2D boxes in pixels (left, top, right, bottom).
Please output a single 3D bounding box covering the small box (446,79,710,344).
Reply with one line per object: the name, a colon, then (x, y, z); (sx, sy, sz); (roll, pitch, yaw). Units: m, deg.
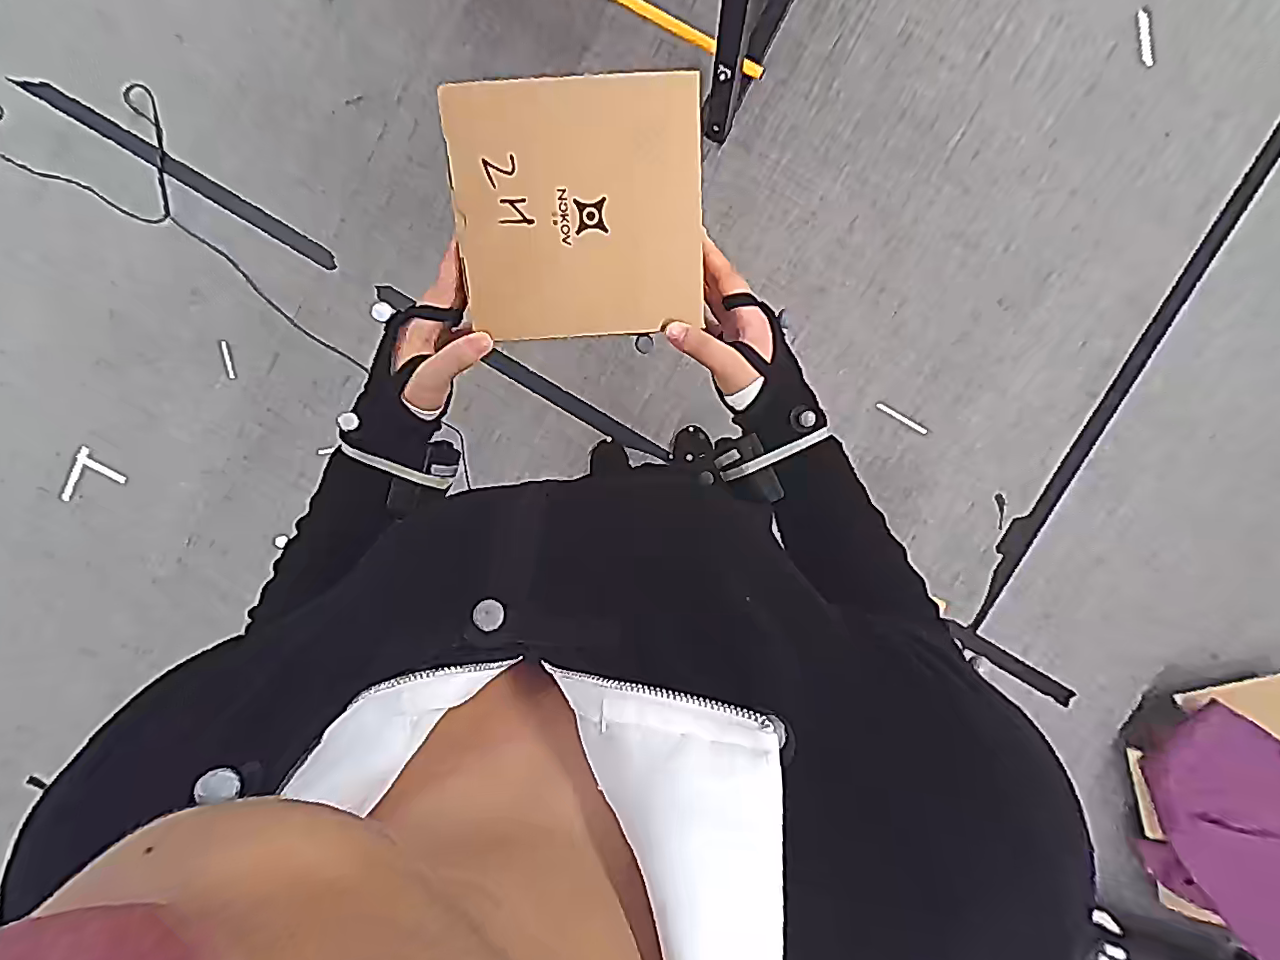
small box: (-0.041, -0.208, 0.455); (0.179, 0.176, 0.168); (-3, 107, 0)
